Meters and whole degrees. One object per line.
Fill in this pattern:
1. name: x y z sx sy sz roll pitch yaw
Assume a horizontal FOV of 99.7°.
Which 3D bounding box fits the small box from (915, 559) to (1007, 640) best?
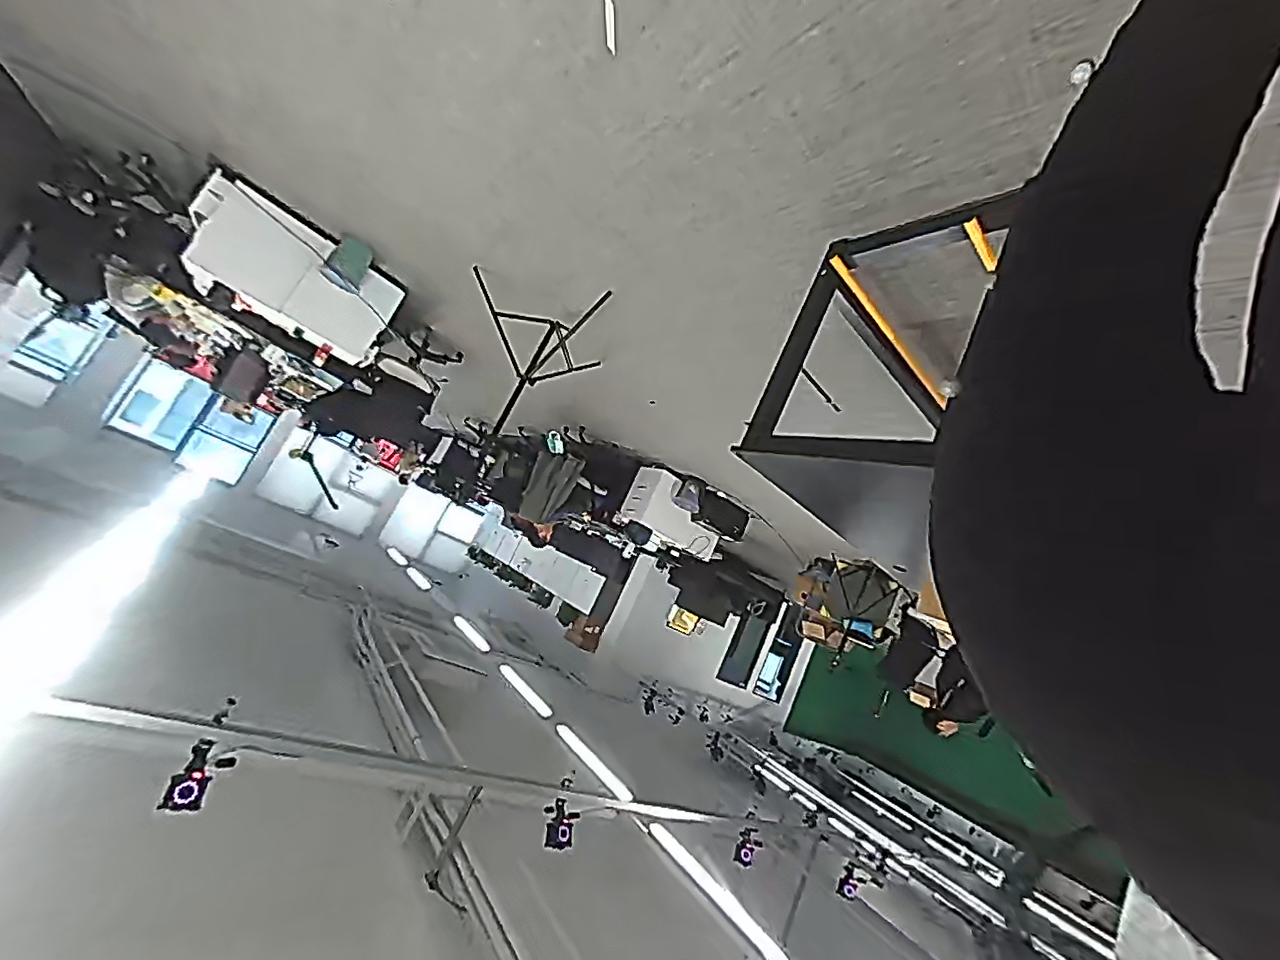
1. small box: 0.953 0.346 1.594 0.168 0.176 0.179 32 167 -35
